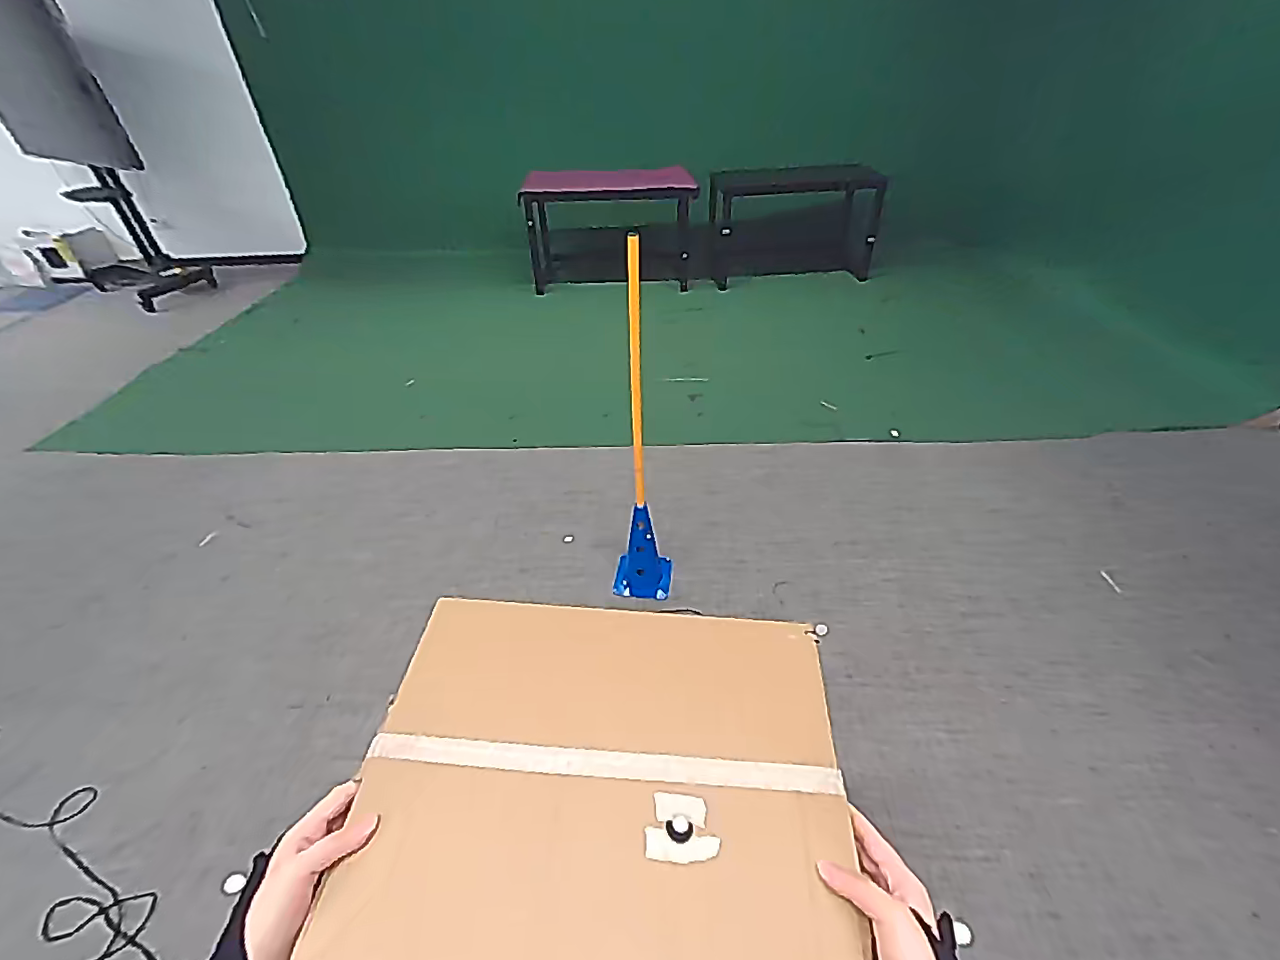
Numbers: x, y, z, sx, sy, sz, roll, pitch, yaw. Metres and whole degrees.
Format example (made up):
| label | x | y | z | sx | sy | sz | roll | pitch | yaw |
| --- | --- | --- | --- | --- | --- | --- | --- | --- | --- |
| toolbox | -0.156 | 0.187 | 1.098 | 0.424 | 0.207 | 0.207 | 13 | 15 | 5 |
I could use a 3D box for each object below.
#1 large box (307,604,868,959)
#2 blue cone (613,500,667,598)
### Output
| label | x | y | z | sx | sy | sz | roll | pitch | yaw |
| --- | --- | --- | --- | --- | --- | --- | --- | --- | --- |
| large box | -0.034 | 0.360 | 0.578 | 0.408 | 0.320 | 0.320 | 4 | 43 | 2 |
| blue cone | -0.001 | 0.229 | 1.903 | 0.193 | 0.380 | 0.192 | 5 | 38 | 8 |
